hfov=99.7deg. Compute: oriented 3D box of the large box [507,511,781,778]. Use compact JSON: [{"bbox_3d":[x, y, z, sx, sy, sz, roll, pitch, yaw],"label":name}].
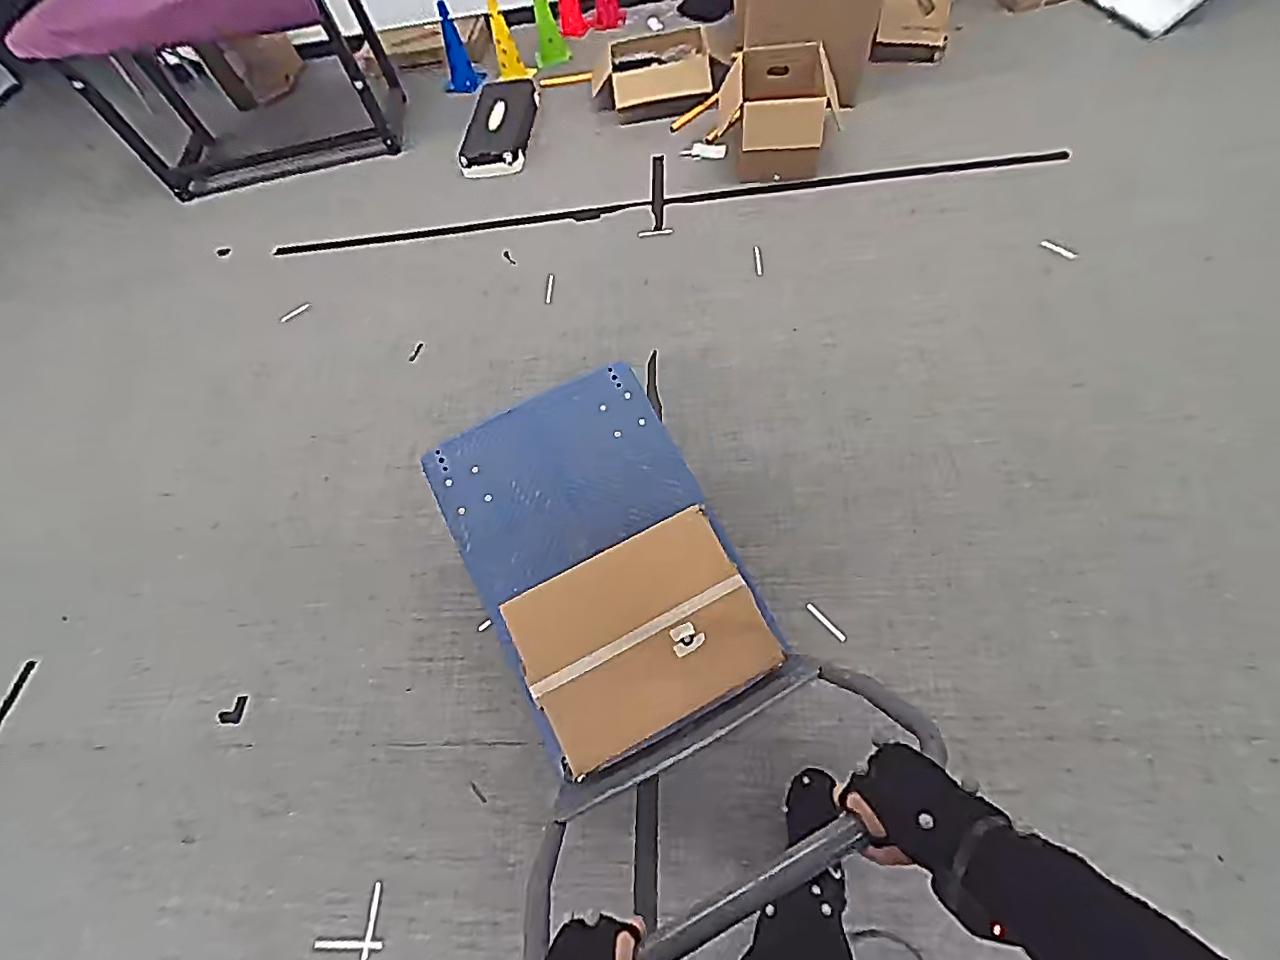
[{"bbox_3d":[0.003,0.317,1.097,0.408,0.320,0.320,-27,77,-8],"label":"large box"}]
